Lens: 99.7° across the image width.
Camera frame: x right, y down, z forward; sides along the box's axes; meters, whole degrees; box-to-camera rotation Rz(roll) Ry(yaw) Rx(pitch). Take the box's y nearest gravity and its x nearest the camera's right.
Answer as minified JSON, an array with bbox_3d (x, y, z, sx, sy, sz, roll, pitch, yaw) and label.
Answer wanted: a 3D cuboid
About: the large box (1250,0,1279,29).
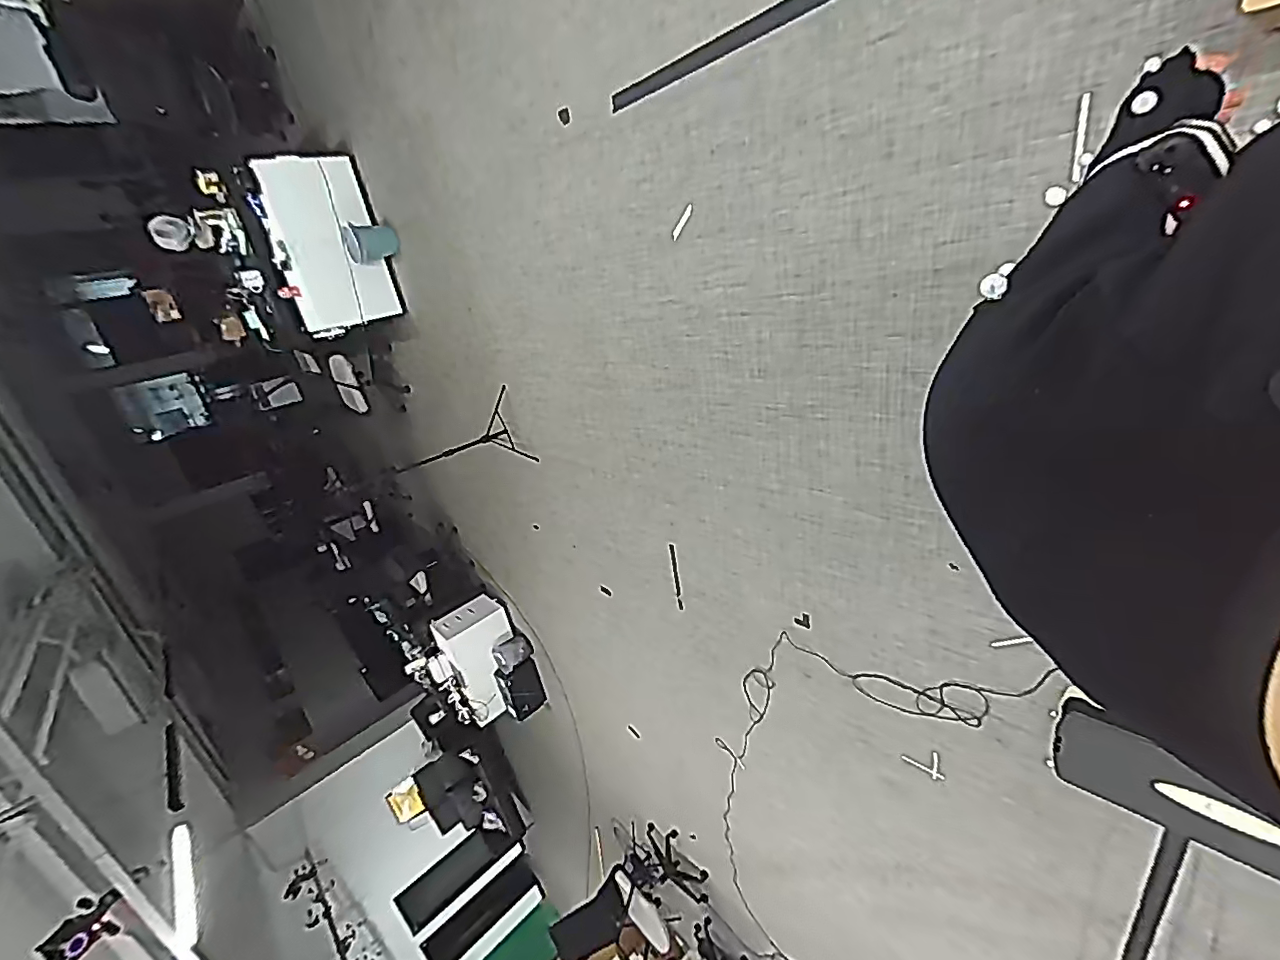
[{"bbox_3d":[0.996,-0.772,0.587,0.408,0.320,0.320,15,125,45],"label":"large box"}]
